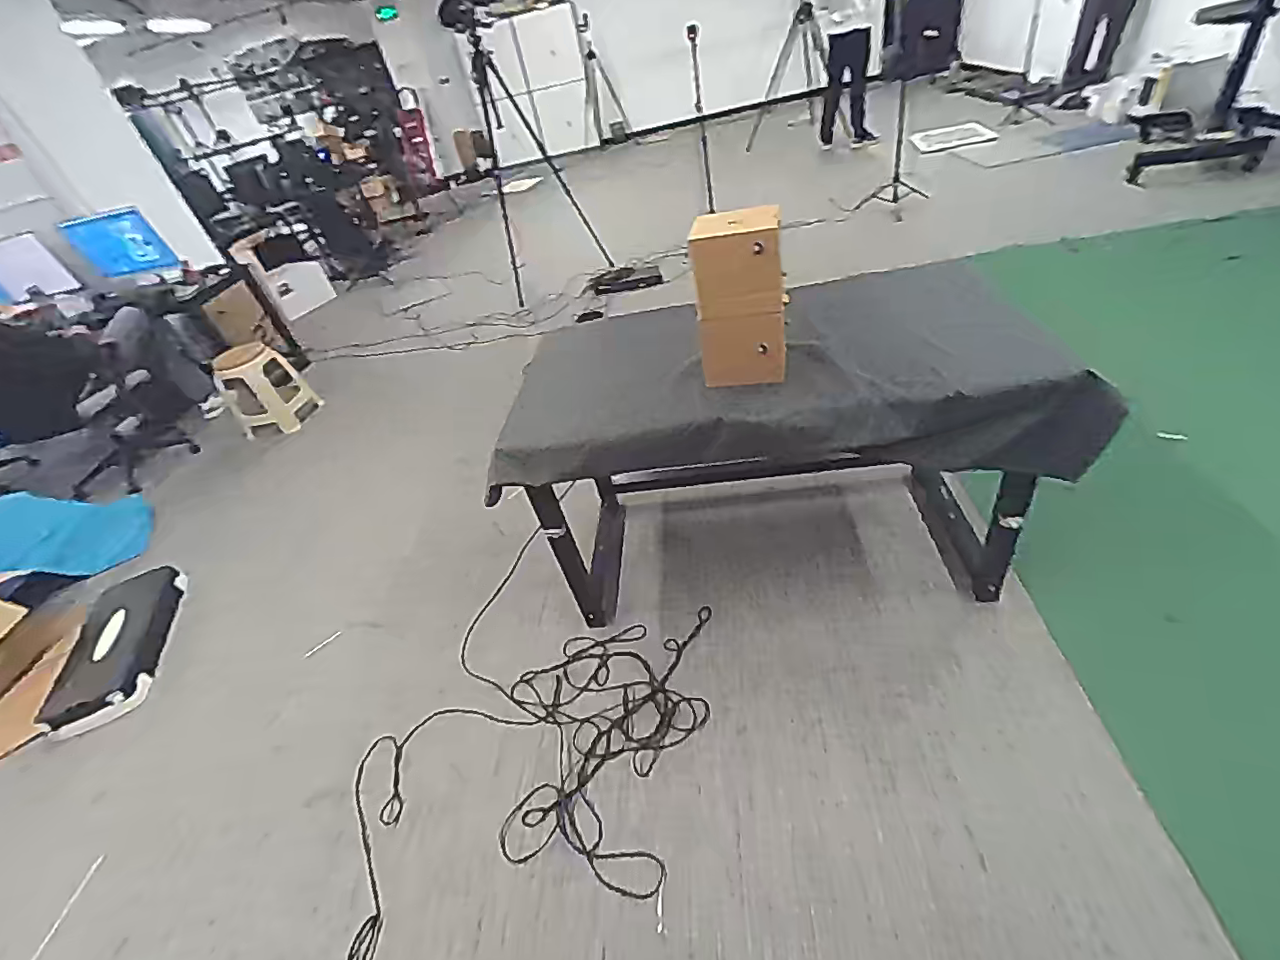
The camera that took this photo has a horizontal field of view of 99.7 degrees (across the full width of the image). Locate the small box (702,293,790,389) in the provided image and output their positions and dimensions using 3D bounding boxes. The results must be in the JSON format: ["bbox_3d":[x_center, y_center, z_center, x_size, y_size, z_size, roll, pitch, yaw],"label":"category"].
[{"bbox_3d":[0.247,-0.322,1.227,0.179,0.176,0.168,-2,39,17],"label":"small box"}]

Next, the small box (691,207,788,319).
[{"bbox_3d":[0.215,-0.449,1.130,0.179,0.176,0.168,-1,40,17],"label":"small box"}]
